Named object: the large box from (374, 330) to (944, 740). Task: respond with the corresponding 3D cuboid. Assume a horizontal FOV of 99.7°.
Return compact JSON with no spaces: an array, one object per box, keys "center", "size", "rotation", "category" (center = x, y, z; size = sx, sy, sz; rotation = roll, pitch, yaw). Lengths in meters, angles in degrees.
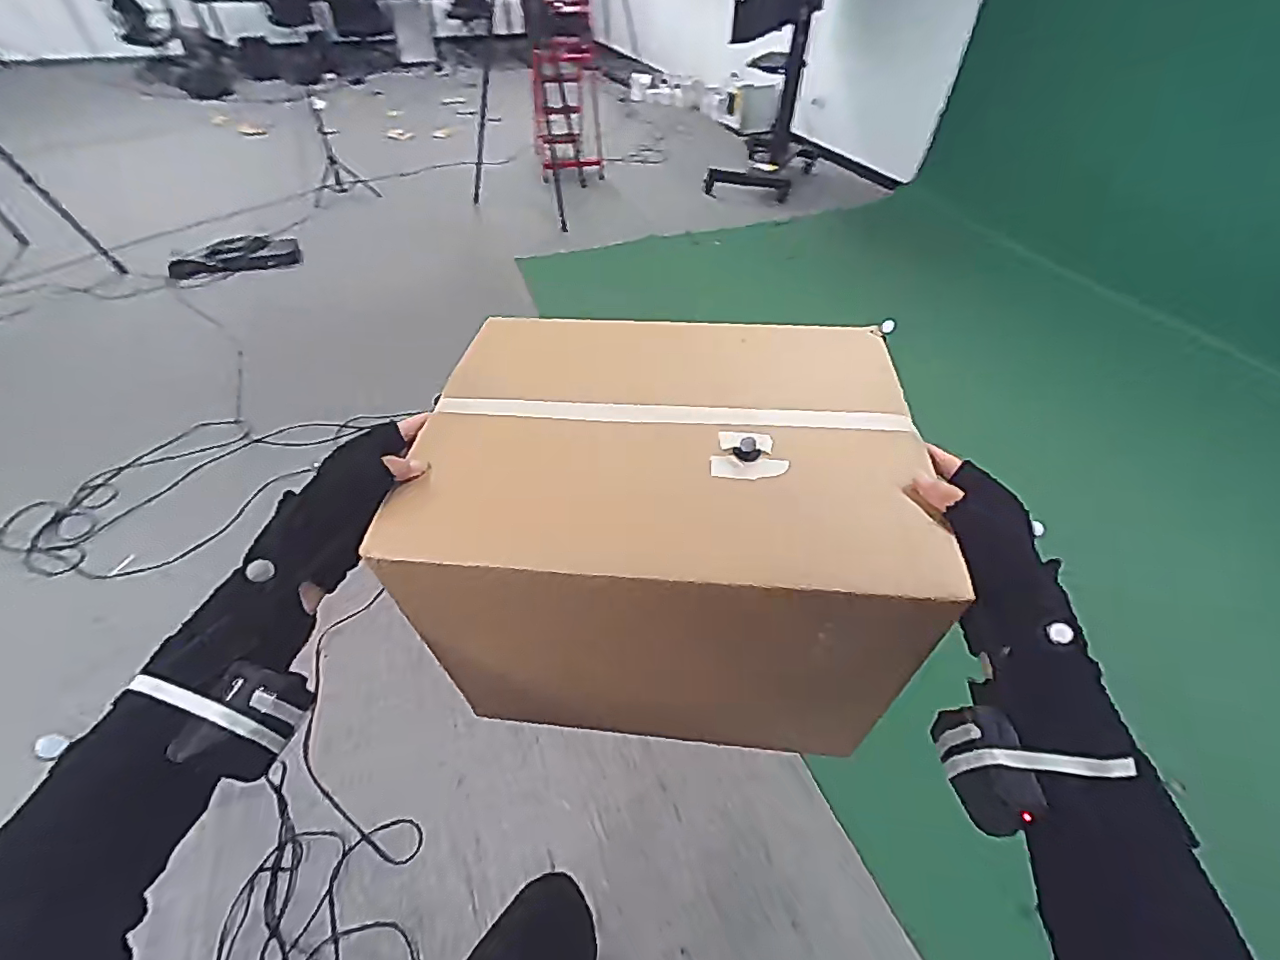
[{"center":[0.020,0.056,0.578],"size":[0.408,0.320,0.320],"rotation":[3,47,5],"category":"large box"}]
